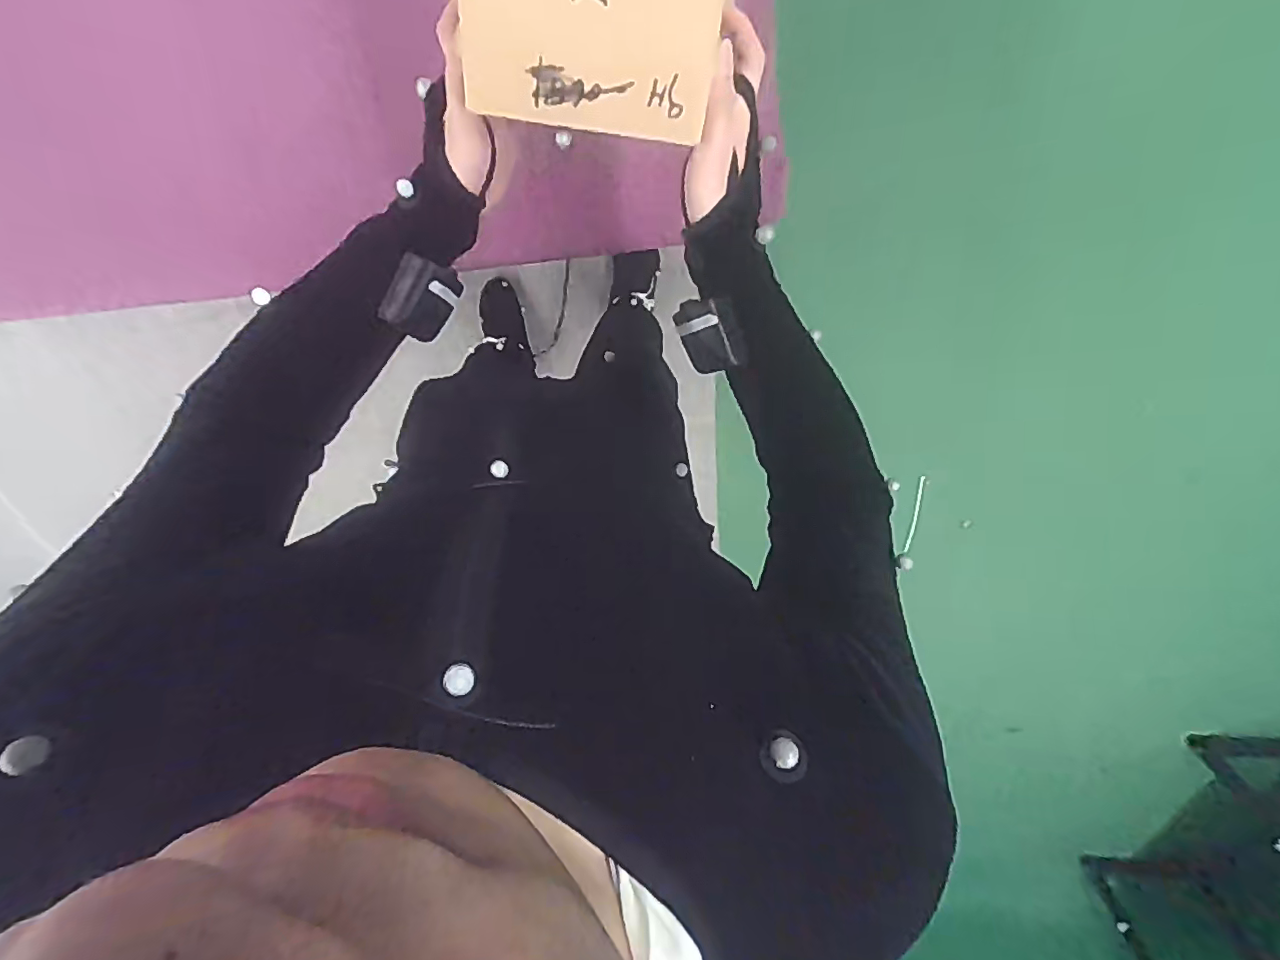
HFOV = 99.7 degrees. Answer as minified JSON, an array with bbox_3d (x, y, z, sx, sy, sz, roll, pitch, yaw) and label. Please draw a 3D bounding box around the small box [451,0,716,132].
[{"bbox_3d":[-0.029,-0.366,0.382,0.168,0.176,0.179,7,127,-2],"label":"small box"}]
